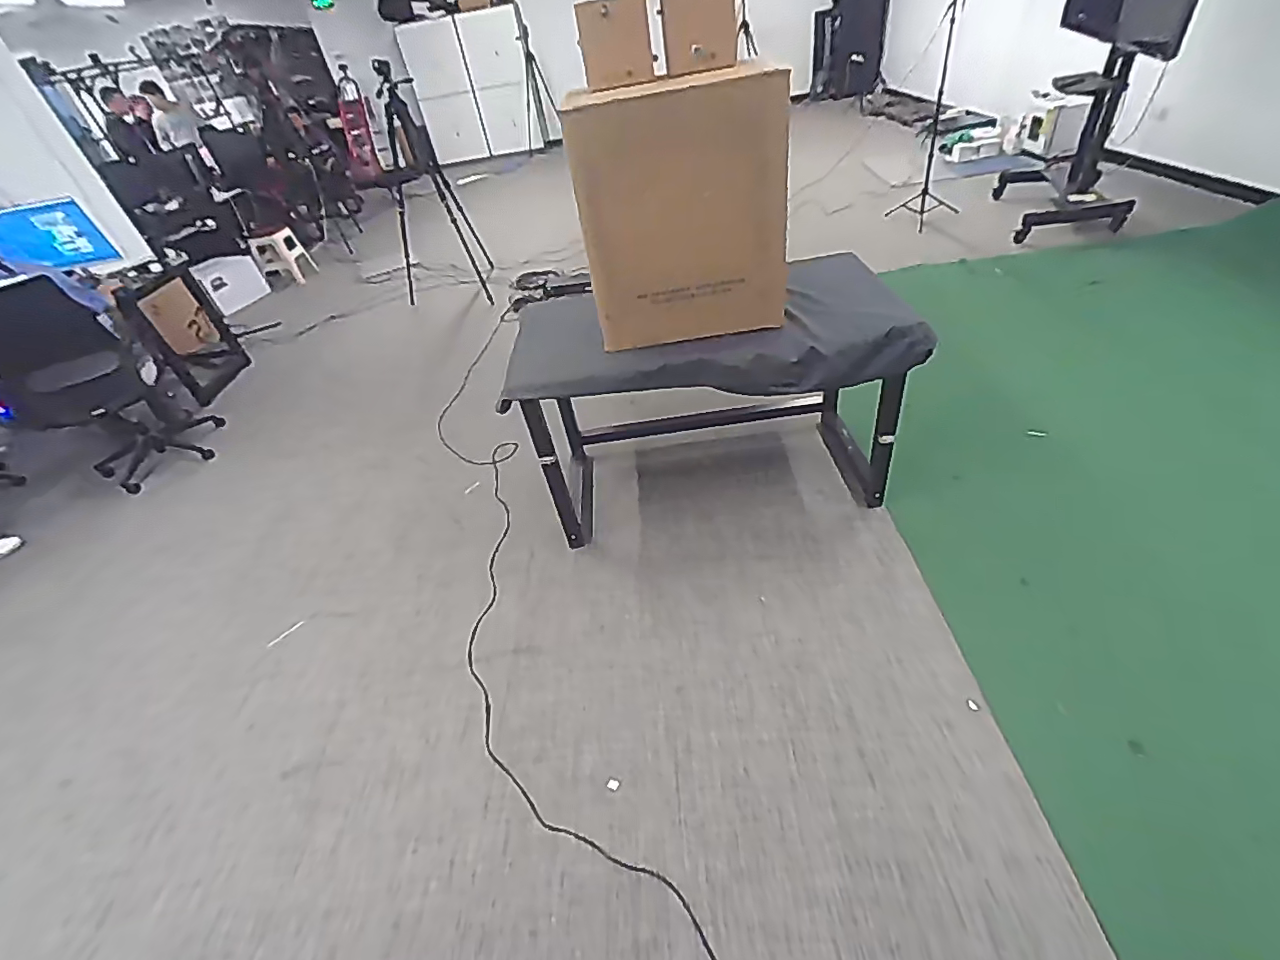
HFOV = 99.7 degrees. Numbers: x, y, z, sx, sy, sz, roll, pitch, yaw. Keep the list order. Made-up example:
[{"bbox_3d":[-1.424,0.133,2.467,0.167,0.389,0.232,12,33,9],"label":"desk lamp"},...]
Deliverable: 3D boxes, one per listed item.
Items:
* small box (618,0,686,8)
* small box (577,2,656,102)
[{"bbox_3d":[0.028,-1.207,1.250,0.179,0.176,0.168,-8,38,3],"label":"small box"},{"bbox_3d":[-0.053,-1.059,1.347,0.168,0.176,0.179,-8,38,5],"label":"small box"}]
